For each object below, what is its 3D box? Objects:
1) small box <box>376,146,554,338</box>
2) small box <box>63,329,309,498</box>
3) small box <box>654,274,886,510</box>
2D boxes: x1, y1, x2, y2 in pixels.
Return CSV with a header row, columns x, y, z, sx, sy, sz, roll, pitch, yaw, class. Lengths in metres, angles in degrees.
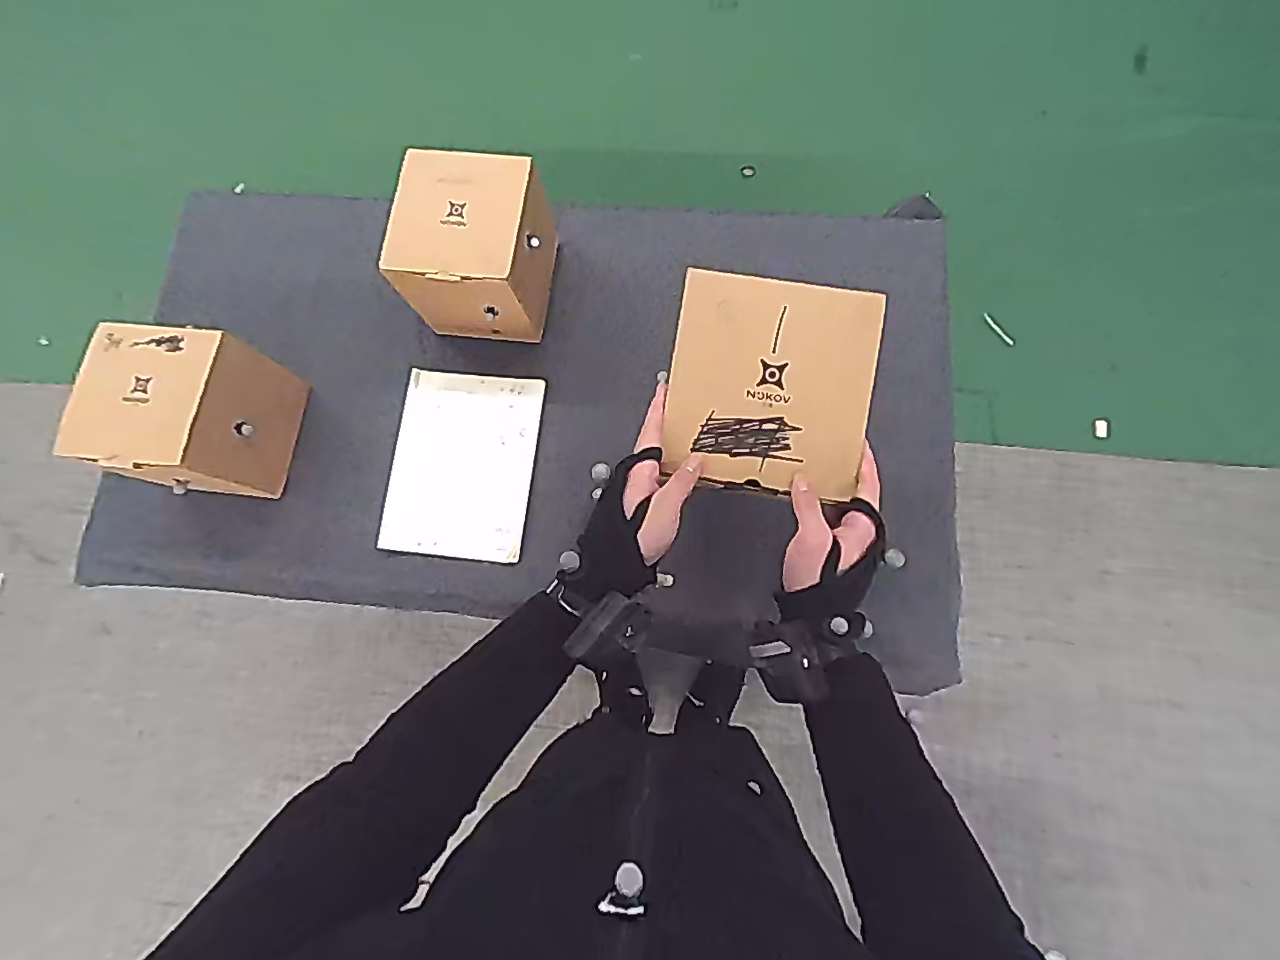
x,y,z,sx,sy,sz,roll,pitch,yaw,class
-0.222,-0.310,0.733,0.168,0.176,0.179,6,78,4,small box
-0.583,-0.078,0.722,0.168,0.176,0.179,6,78,4,small box
0.112,-0.073,0.523,0.168,0.176,0.179,9,89,4,small box
